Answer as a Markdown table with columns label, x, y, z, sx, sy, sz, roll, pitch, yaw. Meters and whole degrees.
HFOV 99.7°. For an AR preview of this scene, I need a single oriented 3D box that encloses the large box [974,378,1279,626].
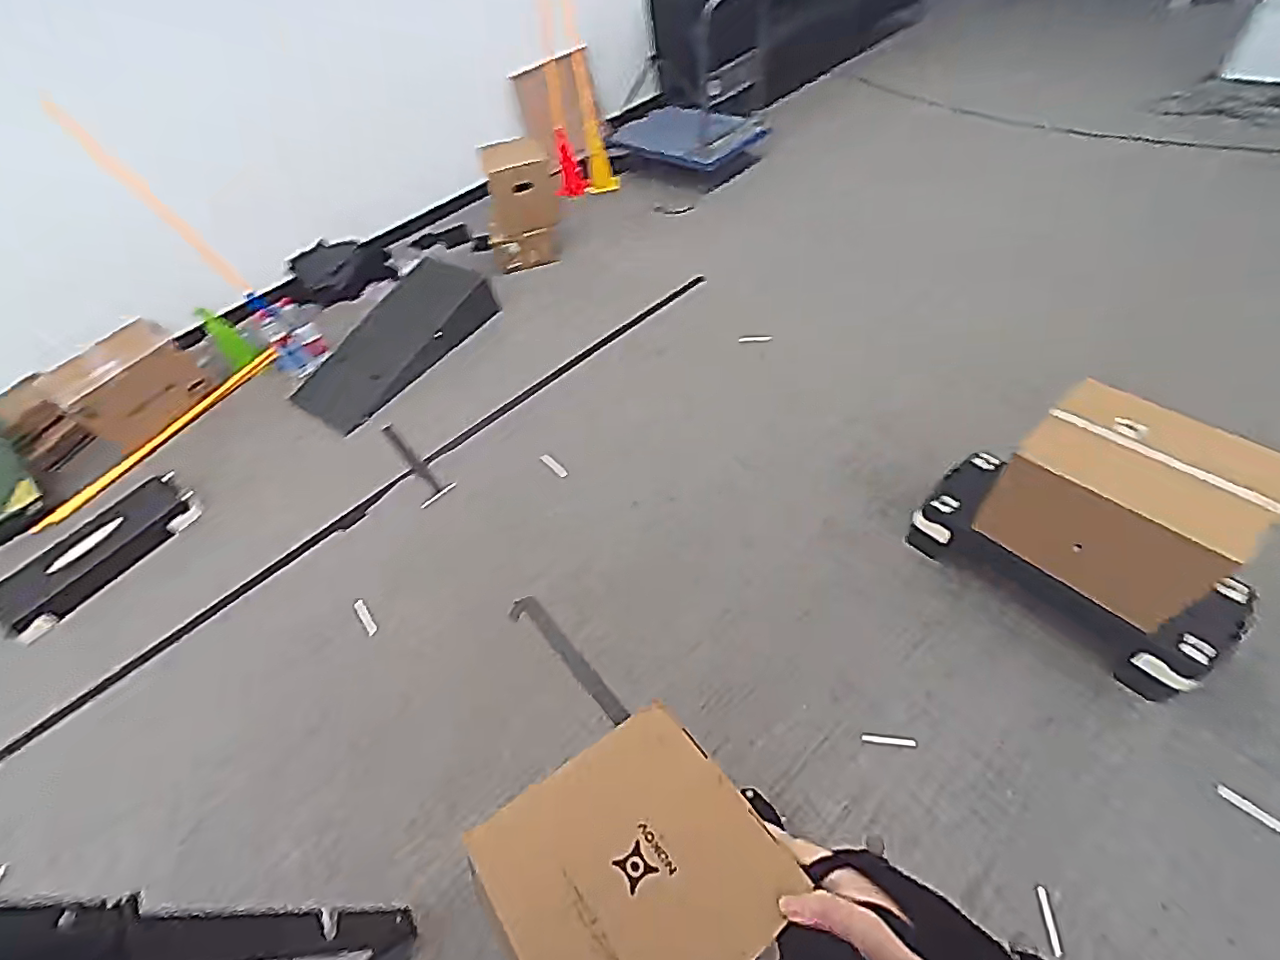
| label | x | y | z | sx | sy | sz | roll | pitch | yaw |
| --- | --- | --- | --- | --- | --- | --- | --- | --- | --- |
| large box | 1.068 | 0.043 | 1.214 | 0.320 | 0.320 | 0.408 | -38 | 53 | -19 |

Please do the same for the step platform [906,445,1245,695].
| label | x | y | z | sx | sy | sz | roll | pitch | yaw |
| --- | --- | --- | --- | --- | --- | --- | --- | --- | --- |
| step platform | 1.070 | 0.192 | 1.405 | 0.286 | 0.204 | 0.684 | -34 | 52 | -15 |
